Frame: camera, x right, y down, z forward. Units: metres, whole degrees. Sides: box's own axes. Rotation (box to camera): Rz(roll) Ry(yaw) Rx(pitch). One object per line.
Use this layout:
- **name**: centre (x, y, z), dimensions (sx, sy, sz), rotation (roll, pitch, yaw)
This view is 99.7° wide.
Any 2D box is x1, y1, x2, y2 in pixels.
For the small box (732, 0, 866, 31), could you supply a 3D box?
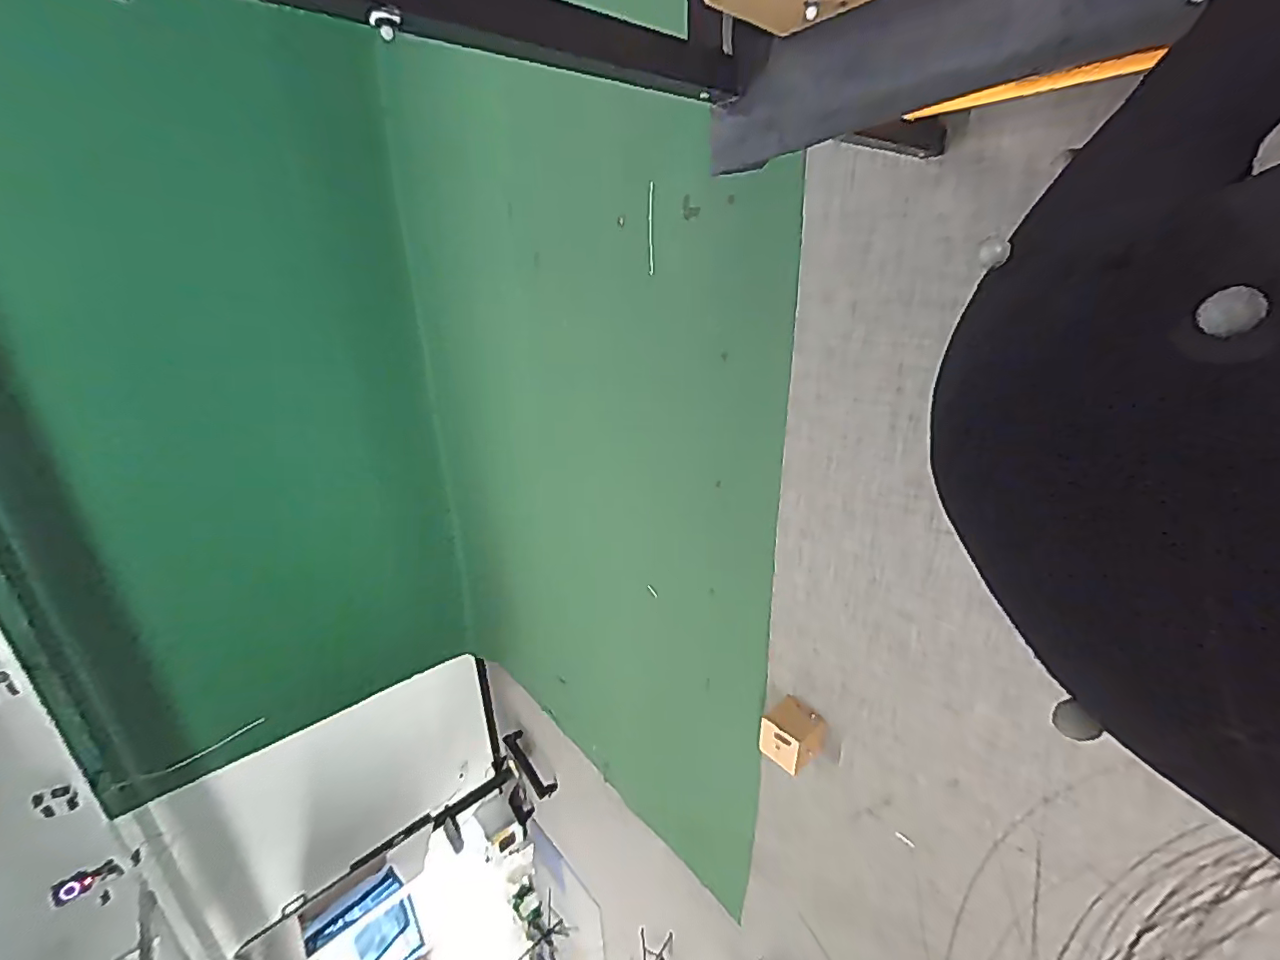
- **small box**: centre (0.191, -0.670, 0.624), dimensions (0.168, 0.176, 0.179), rotation (19, 119, 46)

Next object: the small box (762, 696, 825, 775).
- **small box**: centre (0.587, 0.964, 2.060), dimensions (0.168, 0.176, 0.179), rotation (24, 124, 44)
